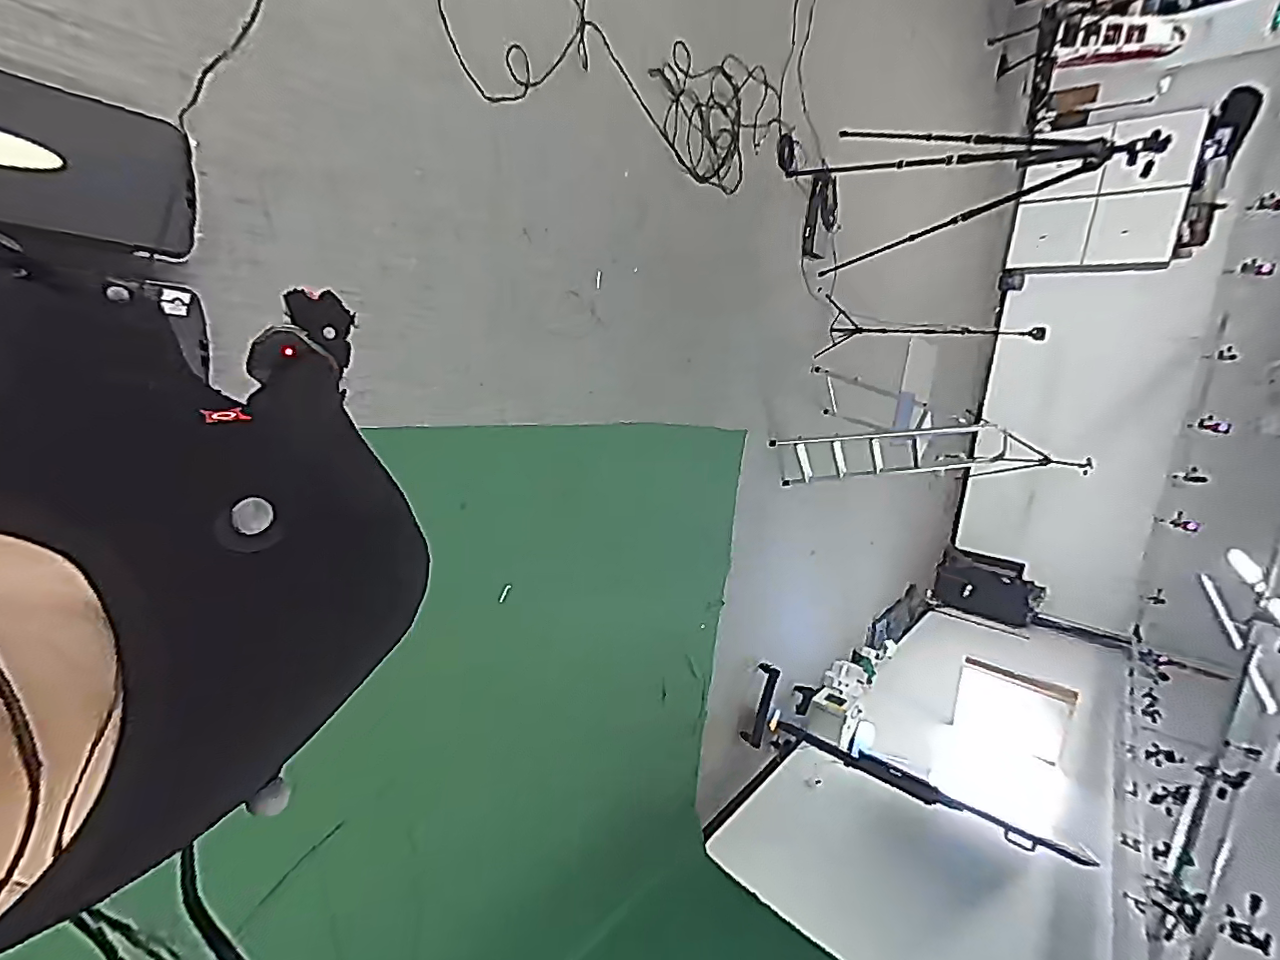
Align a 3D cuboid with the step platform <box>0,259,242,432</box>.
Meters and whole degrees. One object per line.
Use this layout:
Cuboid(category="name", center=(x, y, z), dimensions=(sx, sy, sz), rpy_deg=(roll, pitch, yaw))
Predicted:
Cuboid(category="step platform", center=(-1.092, -0.229, 0.885), dimensions=(0.684, 0.204, 0.286), rpy_deg=(-7, 107, -50))
